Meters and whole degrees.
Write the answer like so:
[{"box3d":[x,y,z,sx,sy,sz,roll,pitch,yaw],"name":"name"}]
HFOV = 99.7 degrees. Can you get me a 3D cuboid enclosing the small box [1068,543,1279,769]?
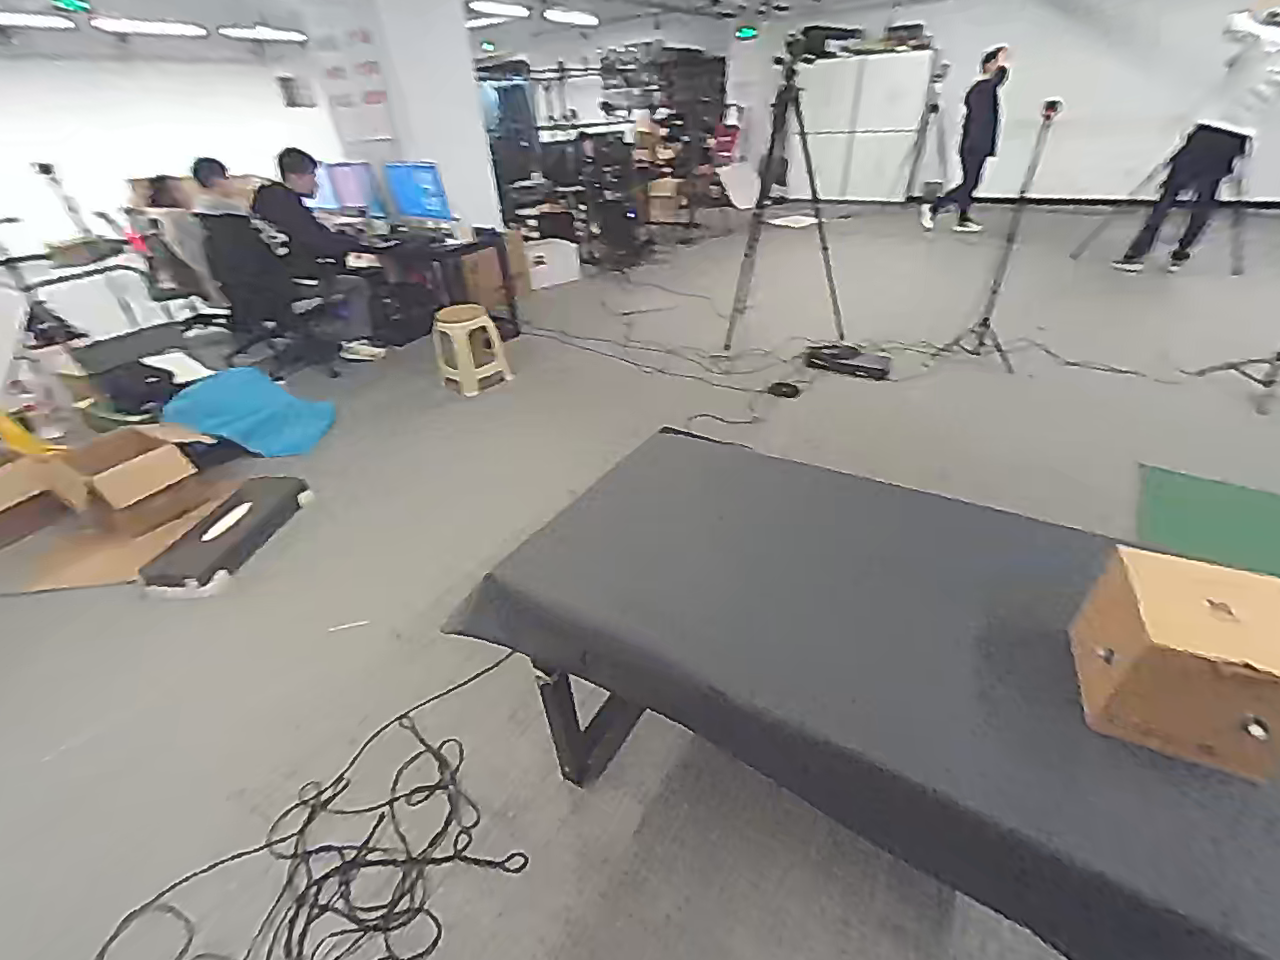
[{"box3d":[0.661,0.210,0.660,0.168,0.176,0.179,14,37,22],"name":"small box"}]
